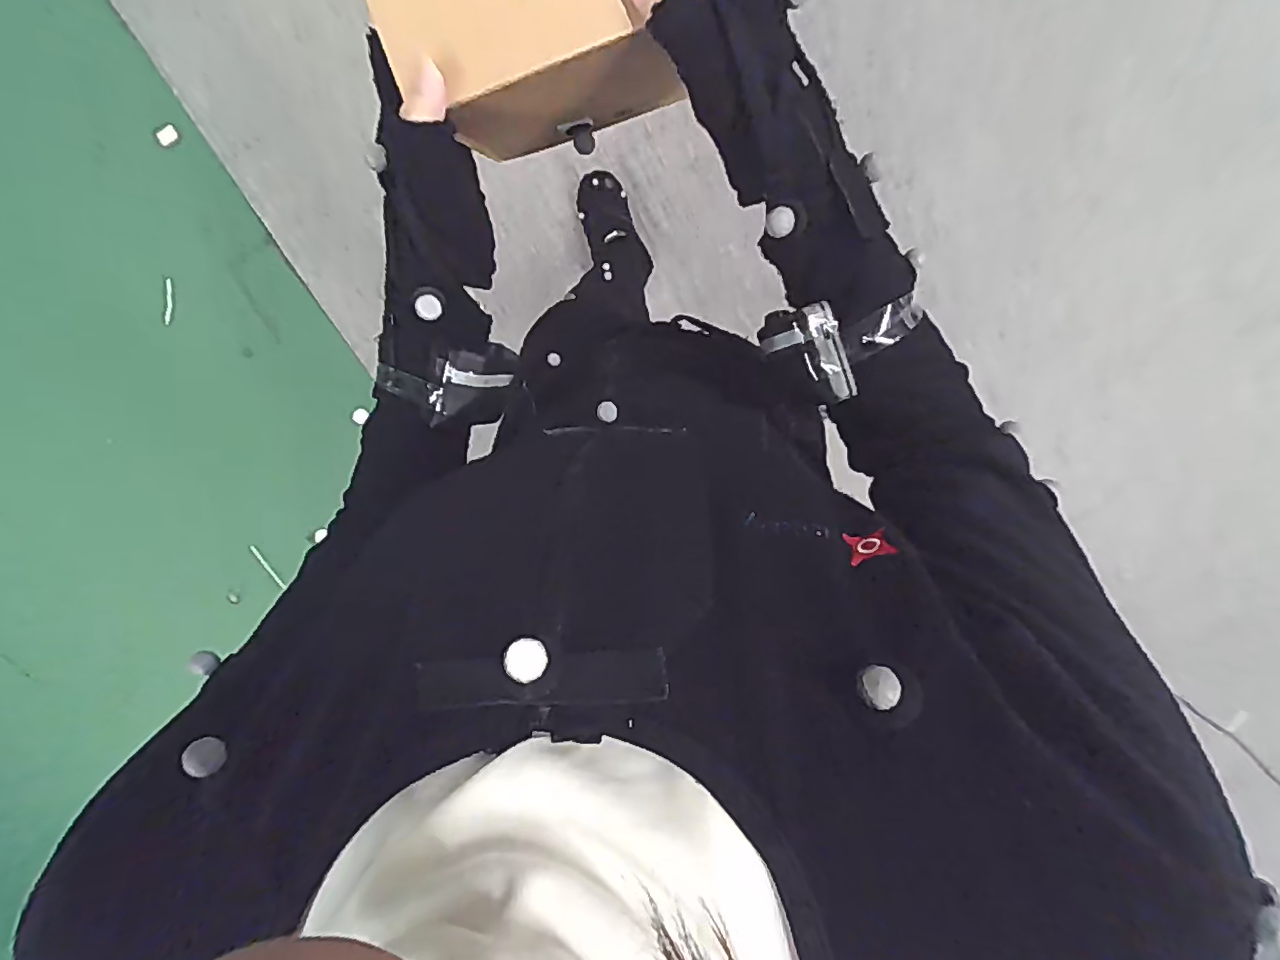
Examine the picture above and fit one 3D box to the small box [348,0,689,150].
[{"bbox_3d":[-0.071,-0.323,0.315,0.168,0.176,0.179,-12,112,11],"label":"small box"}]
